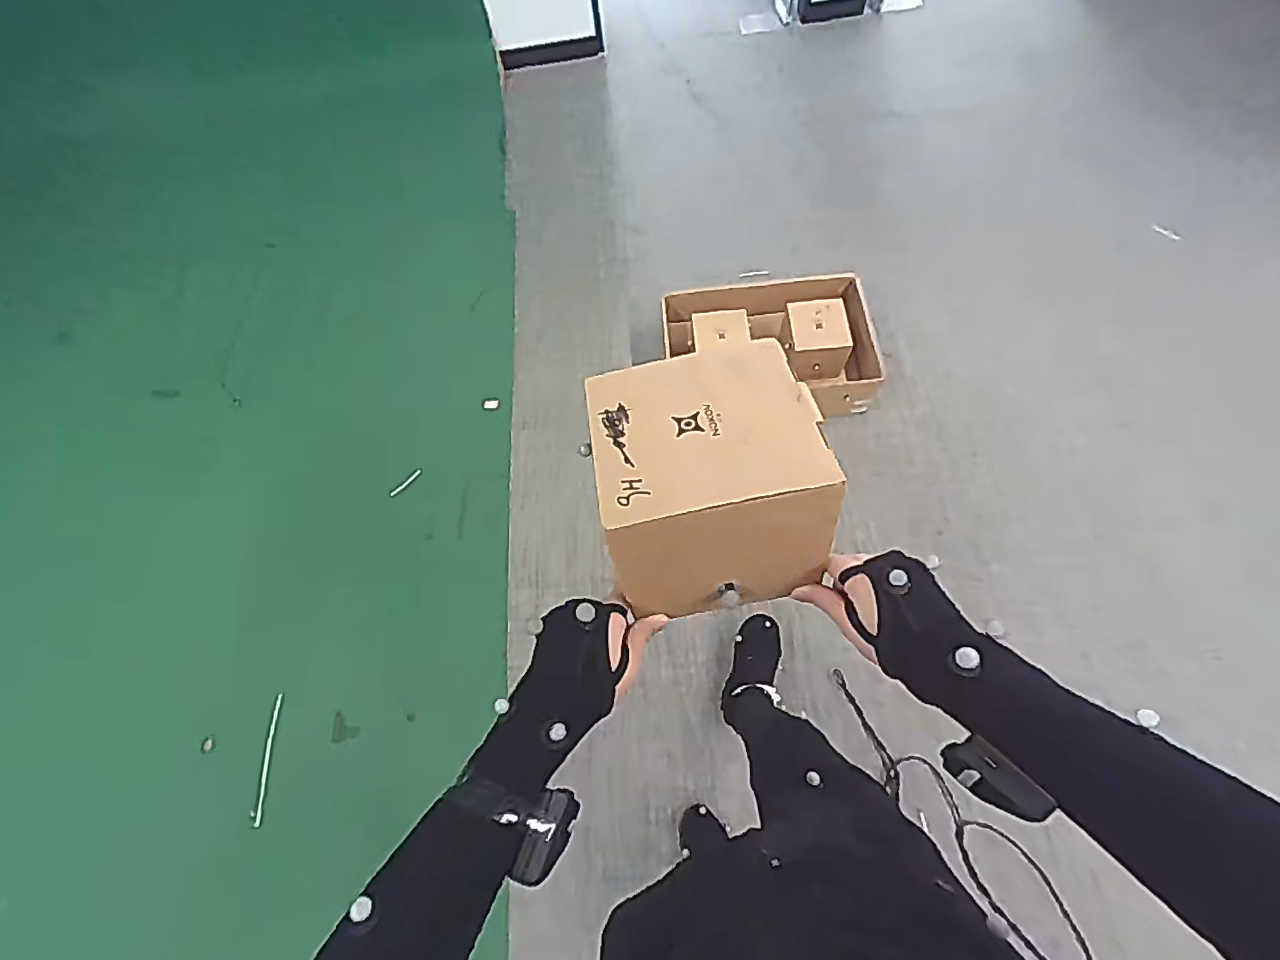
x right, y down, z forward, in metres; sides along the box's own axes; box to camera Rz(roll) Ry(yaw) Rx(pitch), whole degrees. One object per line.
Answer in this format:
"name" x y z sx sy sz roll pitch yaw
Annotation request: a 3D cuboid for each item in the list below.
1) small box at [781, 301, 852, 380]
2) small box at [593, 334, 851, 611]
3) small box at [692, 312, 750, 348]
"small box" 0.533 -0.418 1.658 0.168 0.176 0.179 -4 67 4
"small box" 0.061 -0.001 0.486 0.179 0.176 0.168 -10 50 1
"small box" 0.249 -0.391 1.674 0.168 0.176 0.179 -5 66 3
